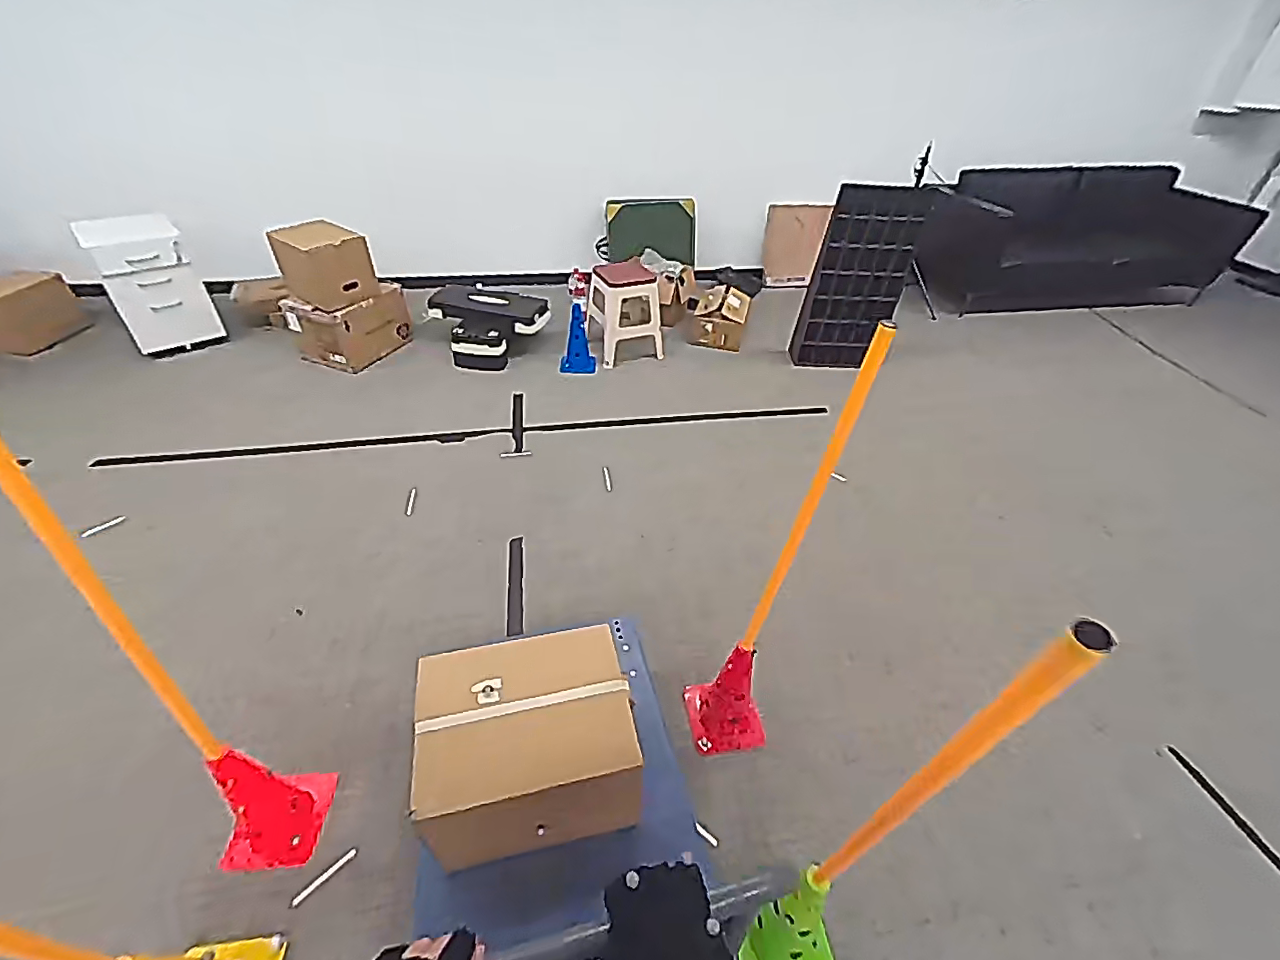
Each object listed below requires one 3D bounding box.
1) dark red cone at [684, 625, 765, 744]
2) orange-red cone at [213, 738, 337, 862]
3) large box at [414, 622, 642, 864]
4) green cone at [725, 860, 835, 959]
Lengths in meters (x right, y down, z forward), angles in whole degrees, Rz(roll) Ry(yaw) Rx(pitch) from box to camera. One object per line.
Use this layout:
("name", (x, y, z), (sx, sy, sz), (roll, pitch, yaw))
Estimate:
("dark red cone", (0.250, 0.518, 1.428), (0.201, 0.394, 0.202), (-3, 40, -10))
("orange-red cone", (-0.850, 0.669, 1.194), (0.198, 0.360, 0.199), (1, 38, -4))
("large box", (-0.229, 0.553, 1.154), (0.408, 0.320, 0.320), (-8, 42, -12))
("green cone", (0.310, 0.840, 1.071), (0.202, 0.368, 0.200), (-1, 40, -7))
